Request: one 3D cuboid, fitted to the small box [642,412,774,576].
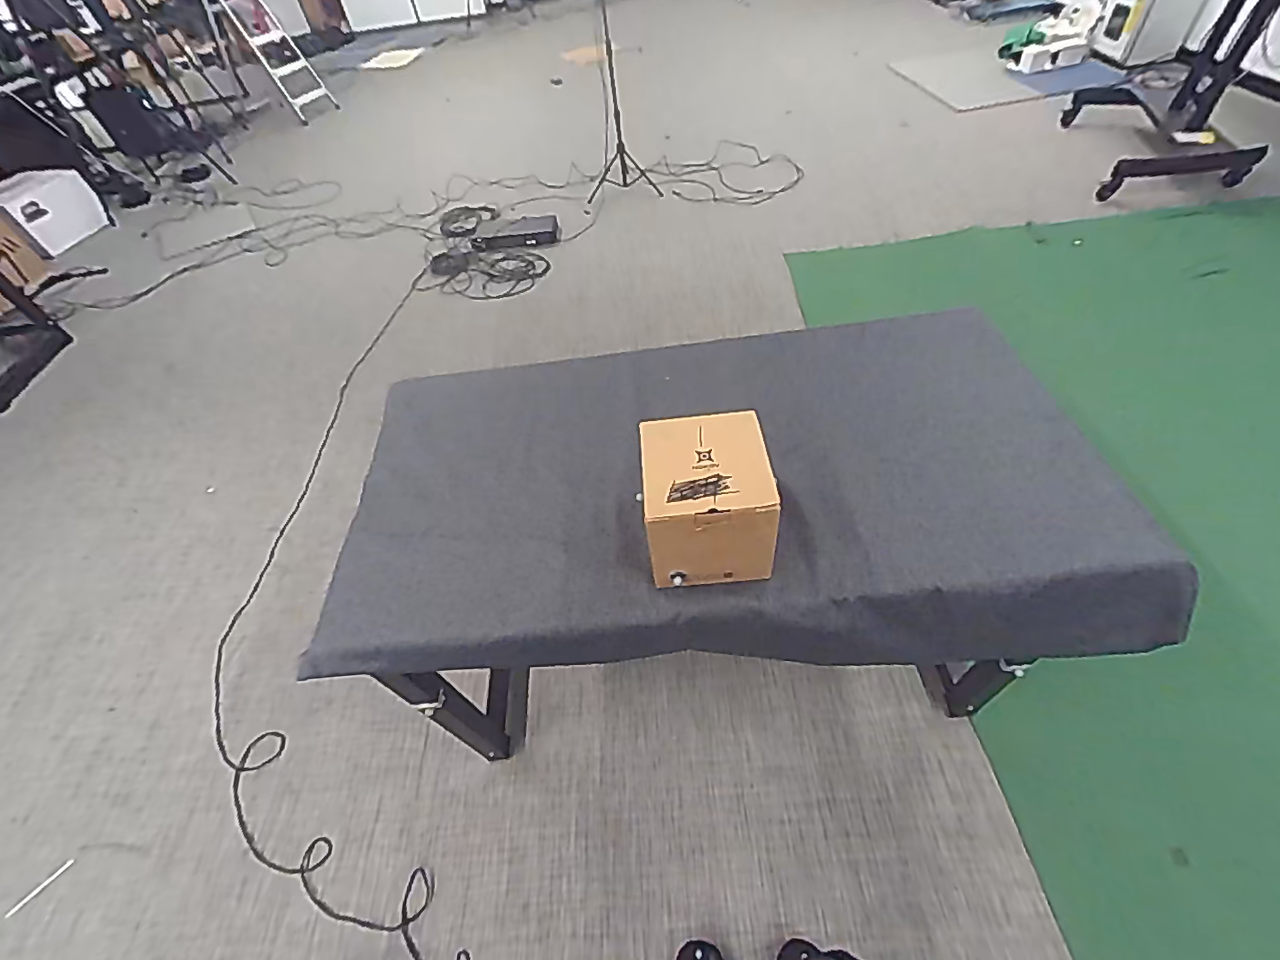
[{"bbox_3d":[0.094,0.028,0.786,0.168,0.176,0.179,-5,48,3],"label":"small box"}]
